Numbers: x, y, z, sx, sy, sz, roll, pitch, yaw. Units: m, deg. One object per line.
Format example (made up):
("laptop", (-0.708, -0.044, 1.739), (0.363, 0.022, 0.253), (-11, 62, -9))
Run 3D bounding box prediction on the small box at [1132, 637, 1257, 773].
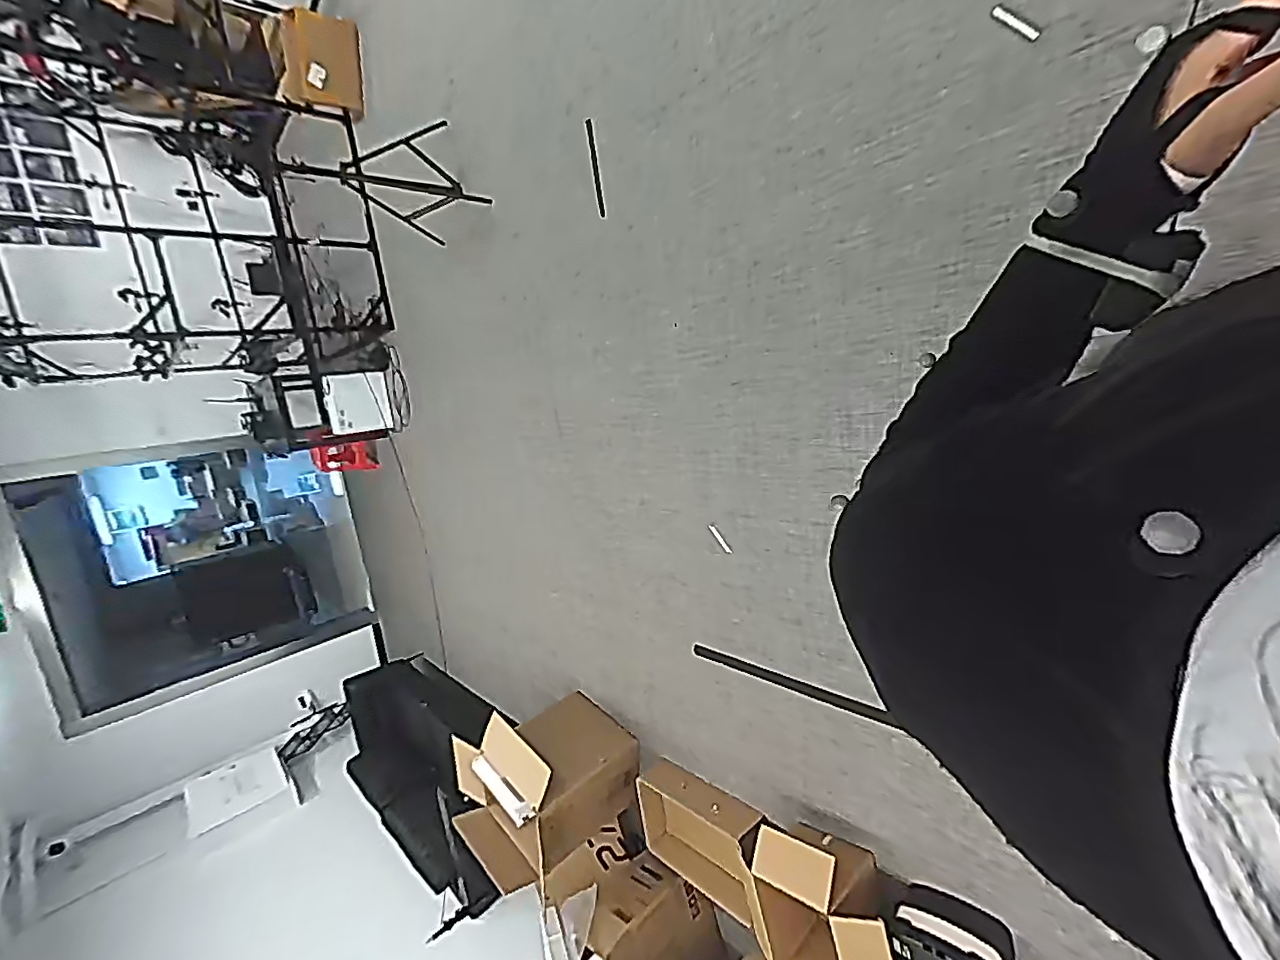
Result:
("small box", (1.128, 0.443, 1.103), (0.168, 0.176, 0.179), (3, 104, 48))
